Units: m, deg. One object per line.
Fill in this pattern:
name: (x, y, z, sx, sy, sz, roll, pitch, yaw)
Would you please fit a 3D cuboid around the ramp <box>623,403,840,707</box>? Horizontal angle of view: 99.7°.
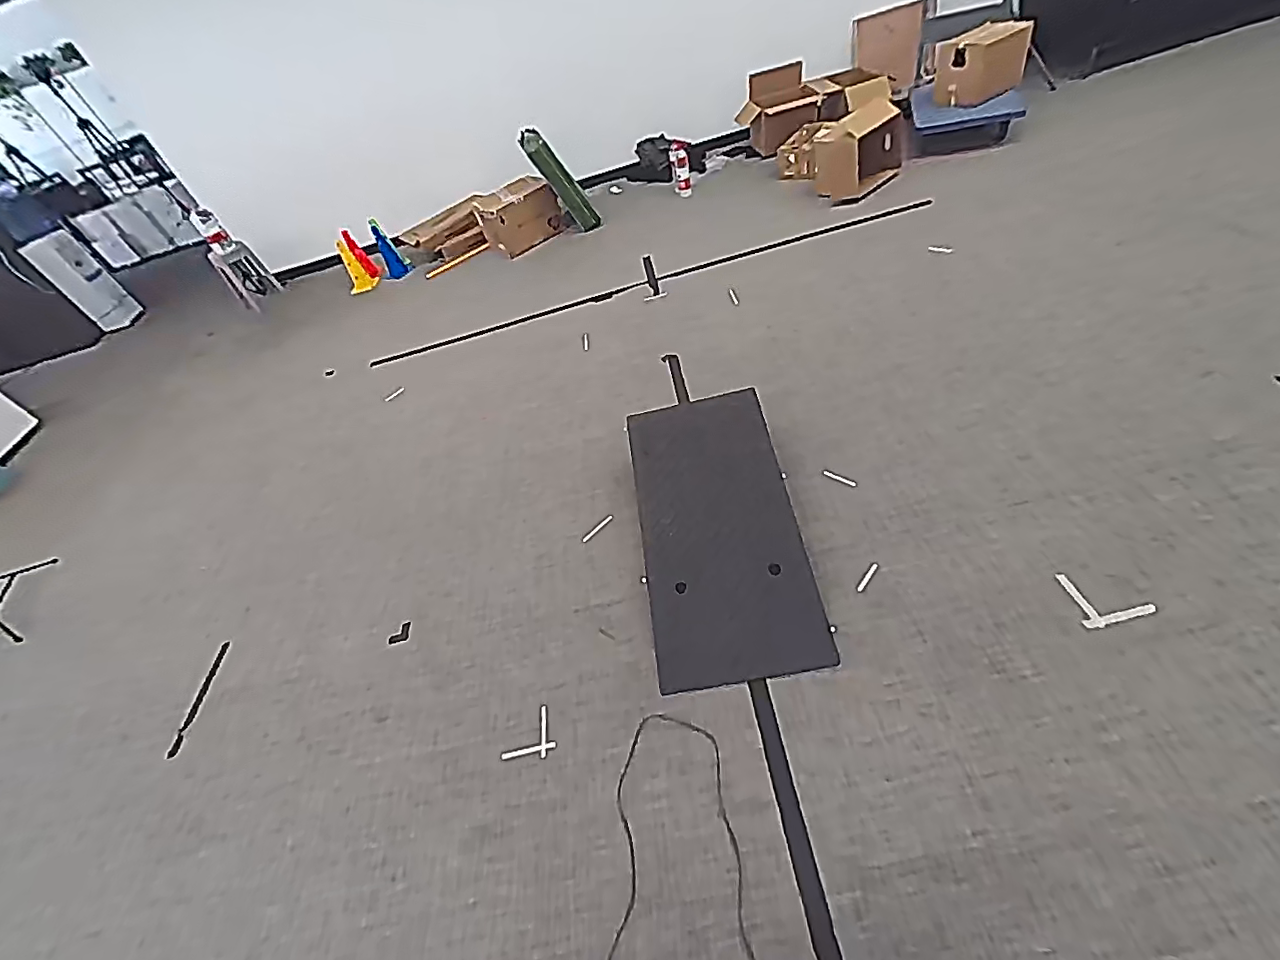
ramp: (0.241, 0.173, 1.753, 0.509, 0.206, 0.991, -15, 44, 4)
